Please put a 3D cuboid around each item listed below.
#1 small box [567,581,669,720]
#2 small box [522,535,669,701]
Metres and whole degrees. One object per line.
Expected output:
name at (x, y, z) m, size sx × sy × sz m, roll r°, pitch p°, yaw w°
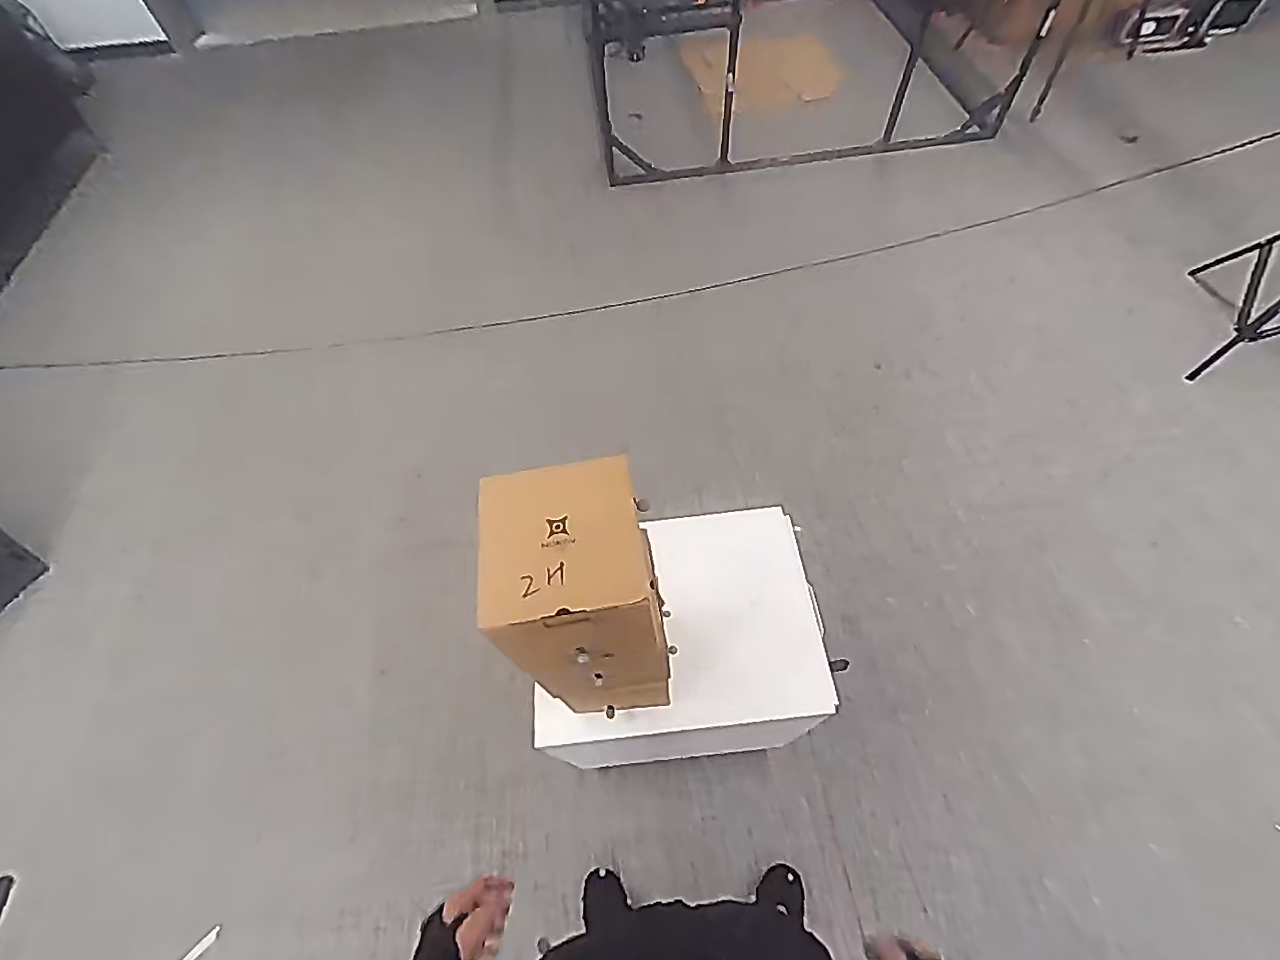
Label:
small box at (-0.041, 0.282, 0.891) m, size 0.168 × 0.176 × 0.179 m, roll -6°, pitch 58°, yaw 1°
small box at (-0.057, 0.196, 0.752) m, size 0.179 × 0.176 × 0.168 m, roll -10°, pitch 57°, yaw -1°
